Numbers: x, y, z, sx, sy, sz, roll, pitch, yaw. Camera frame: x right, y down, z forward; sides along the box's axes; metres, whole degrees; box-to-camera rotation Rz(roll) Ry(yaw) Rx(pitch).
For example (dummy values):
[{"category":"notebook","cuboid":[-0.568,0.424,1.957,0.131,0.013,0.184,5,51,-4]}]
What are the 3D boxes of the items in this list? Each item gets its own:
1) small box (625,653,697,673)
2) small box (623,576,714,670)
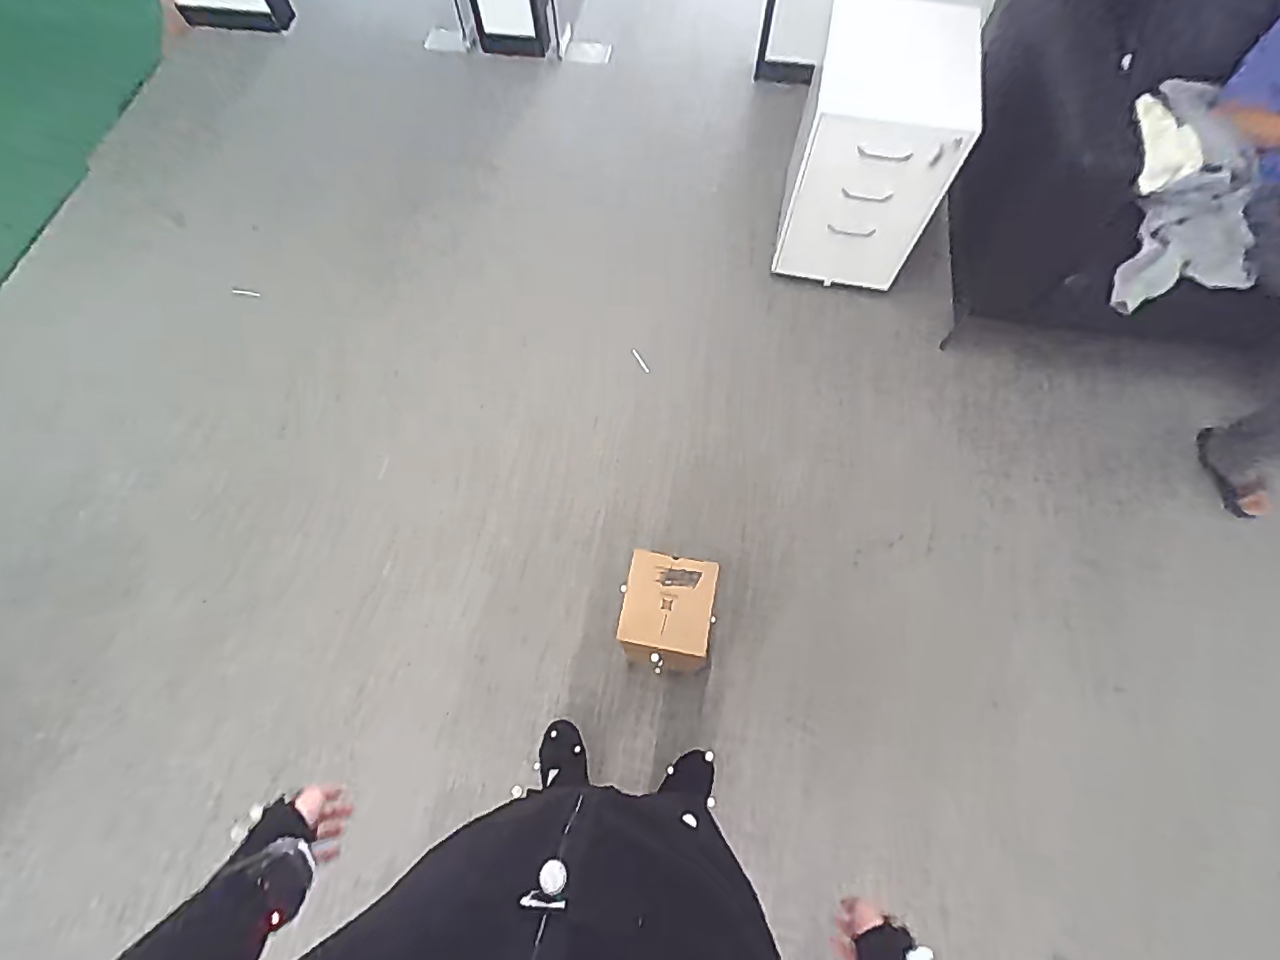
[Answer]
[{"category":"small box","cuboid":[0.062,0.391,1.380,0.179,0.176,0.168,10,67,4]},{"category":"small box","cuboid":[0.062,0.330,1.229,0.179,0.176,0.168,10,68,3]}]
